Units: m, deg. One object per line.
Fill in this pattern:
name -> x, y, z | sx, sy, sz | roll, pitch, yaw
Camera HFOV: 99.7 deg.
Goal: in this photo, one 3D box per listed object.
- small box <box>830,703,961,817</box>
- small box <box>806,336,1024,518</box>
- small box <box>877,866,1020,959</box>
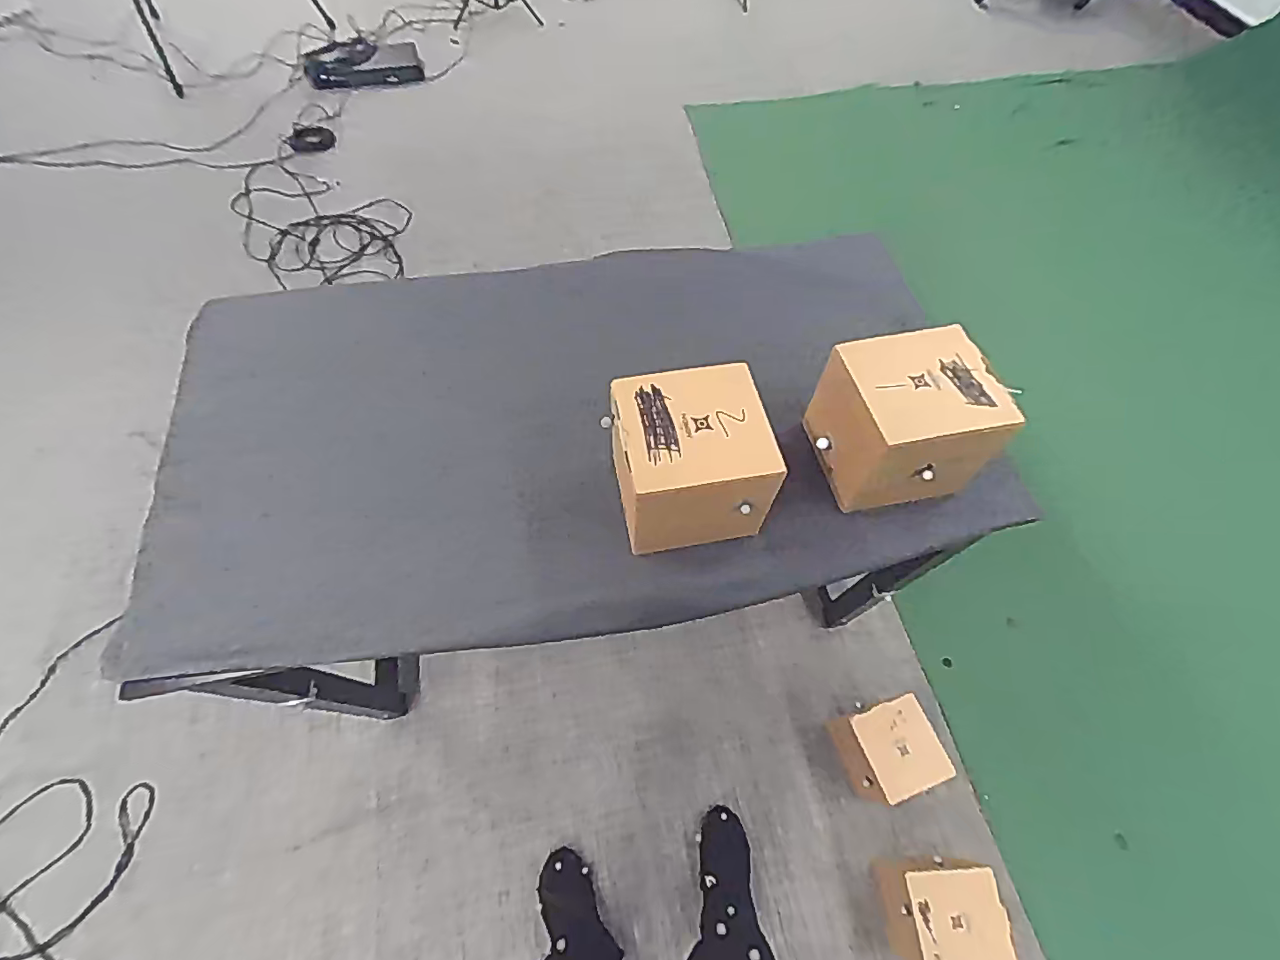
small box -> 0.553, 0.616, 1.199 | 0.168, 0.176, 0.179 | -17, 64, -10
small box -> 0.349, -0.066, 0.727 | 0.179, 0.176, 0.168 | -10, 59, -5
small box -> 0.599, 0.876, 1.063 | 0.179, 0.176, 0.168 | -2, 63, -2
